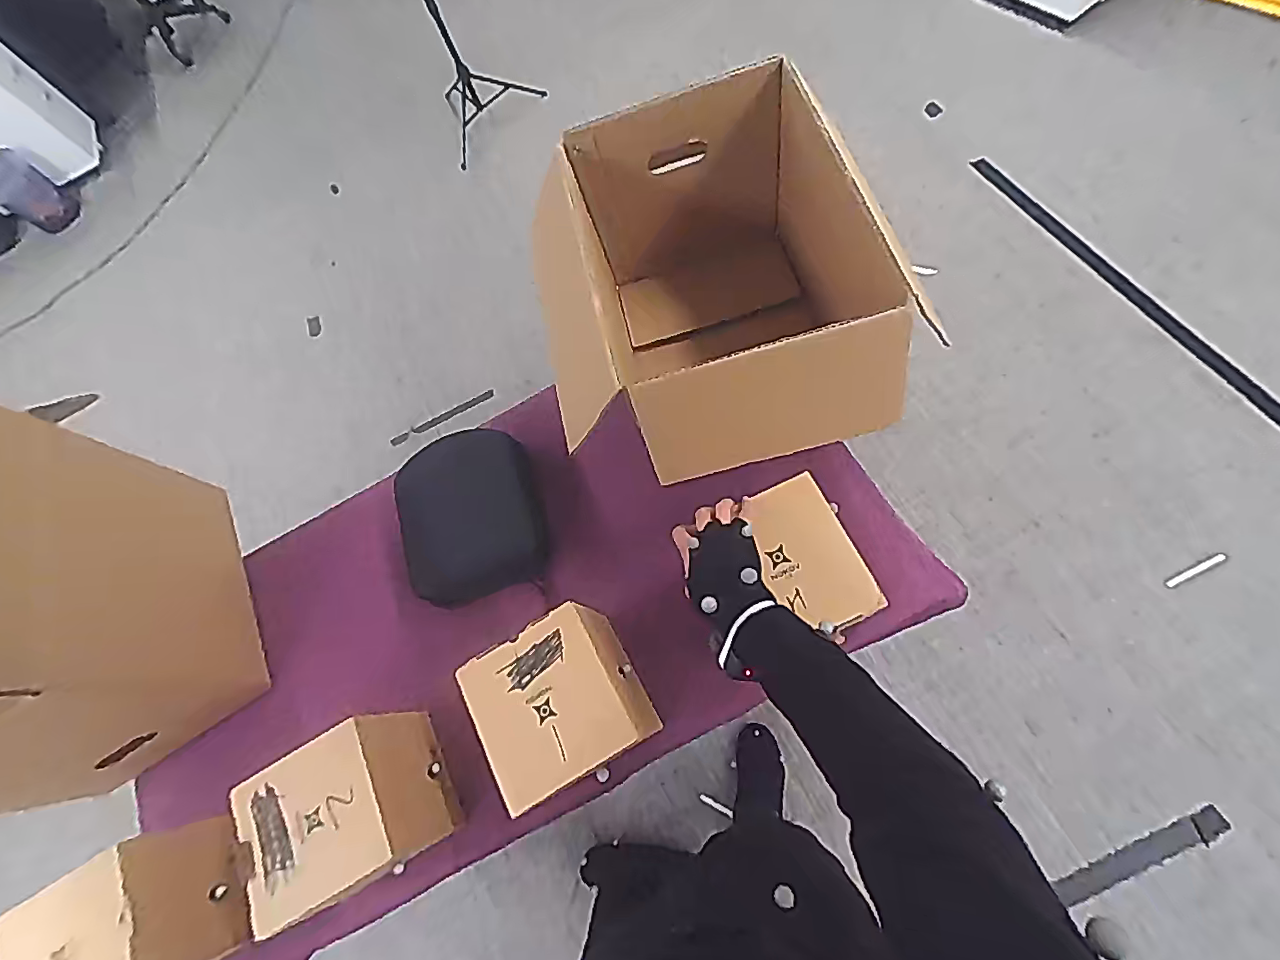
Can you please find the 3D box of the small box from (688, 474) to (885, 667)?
[{"bbox_3d":[0.176,0.124,0.688,0.168,0.176,0.179,-25,67,3],"label":"small box"}]

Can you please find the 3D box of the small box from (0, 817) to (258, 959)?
[{"bbox_3d":[-0.650,0.576,0.700,0.179,0.176,0.168,-32,66,-2],"label":"small box"}]
